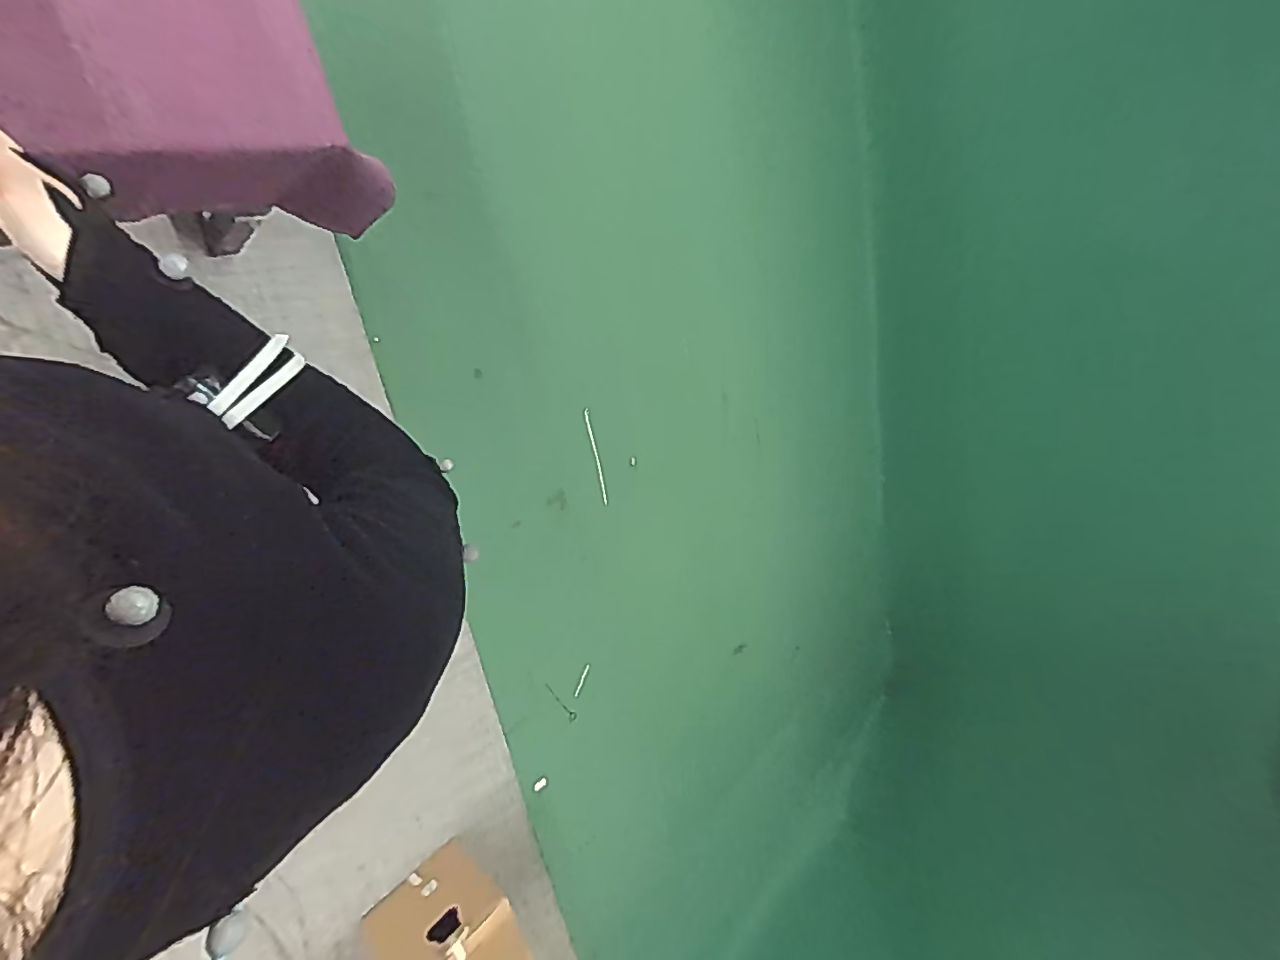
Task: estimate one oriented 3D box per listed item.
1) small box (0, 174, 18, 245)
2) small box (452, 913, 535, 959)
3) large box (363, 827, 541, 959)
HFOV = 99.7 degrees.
[{"bbox_3d":[-0.445,-0.210,0.247,0.168,0.176,0.179,-21,111,-39],"label":"small box"},{"bbox_3d":[-0.383,1.316,1.425,0.179,0.176,0.168,-27,115,-42],"label":"small box"},{"bbox_3d":[-0.553,1.360,1.611,0.320,0.320,0.408,-29,116,-39],"label":"large box"}]
